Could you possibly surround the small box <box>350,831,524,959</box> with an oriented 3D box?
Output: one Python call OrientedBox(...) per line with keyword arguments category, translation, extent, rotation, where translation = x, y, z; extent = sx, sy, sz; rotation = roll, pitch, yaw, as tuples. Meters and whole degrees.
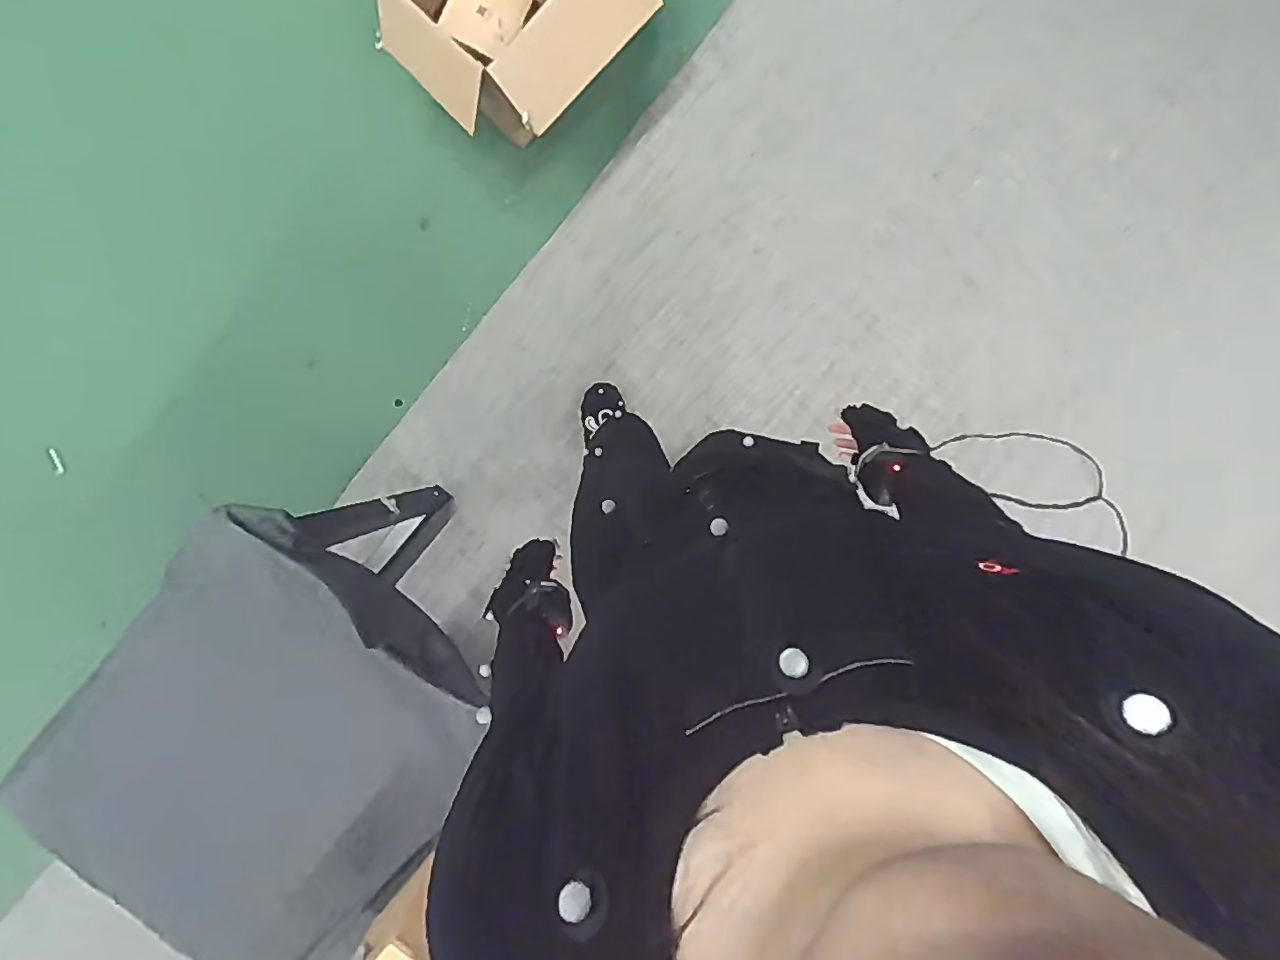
OrientedBox(category="small box", translation=(-0.287, 0.653, 0.756), extent=(0.168, 0.176, 0.179), rotation=(40, 94, -1))
